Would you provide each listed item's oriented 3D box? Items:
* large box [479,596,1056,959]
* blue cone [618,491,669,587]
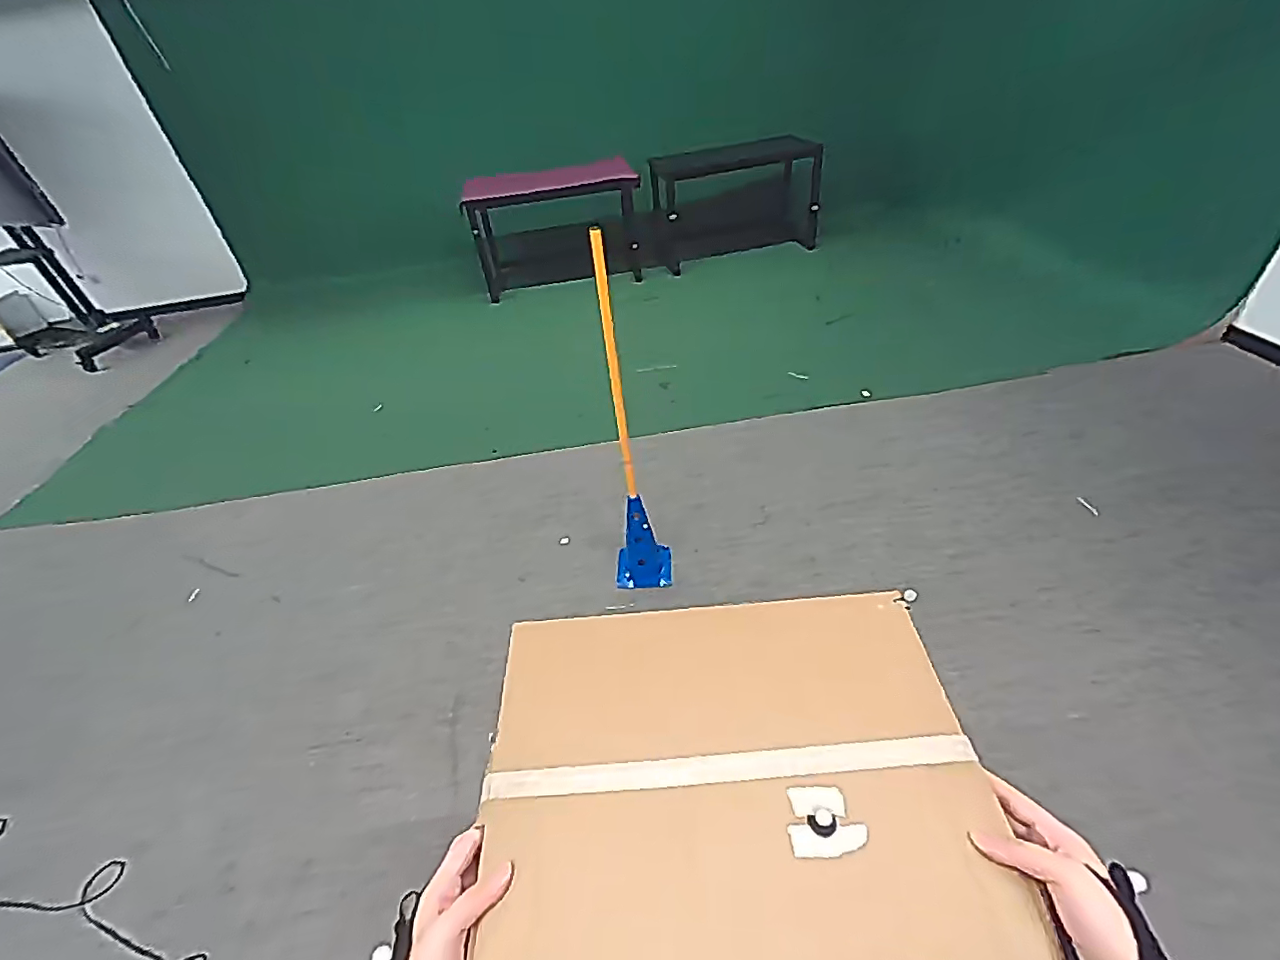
[{"bbox_3d":[0.084,0.353,0.566,0.408,0.320,0.320,-4,45,1],"label":"large box"},{"bbox_3d":[-0.003,0.198,1.920,0.193,0.380,0.192,-3,39,6],"label":"blue cone"}]
